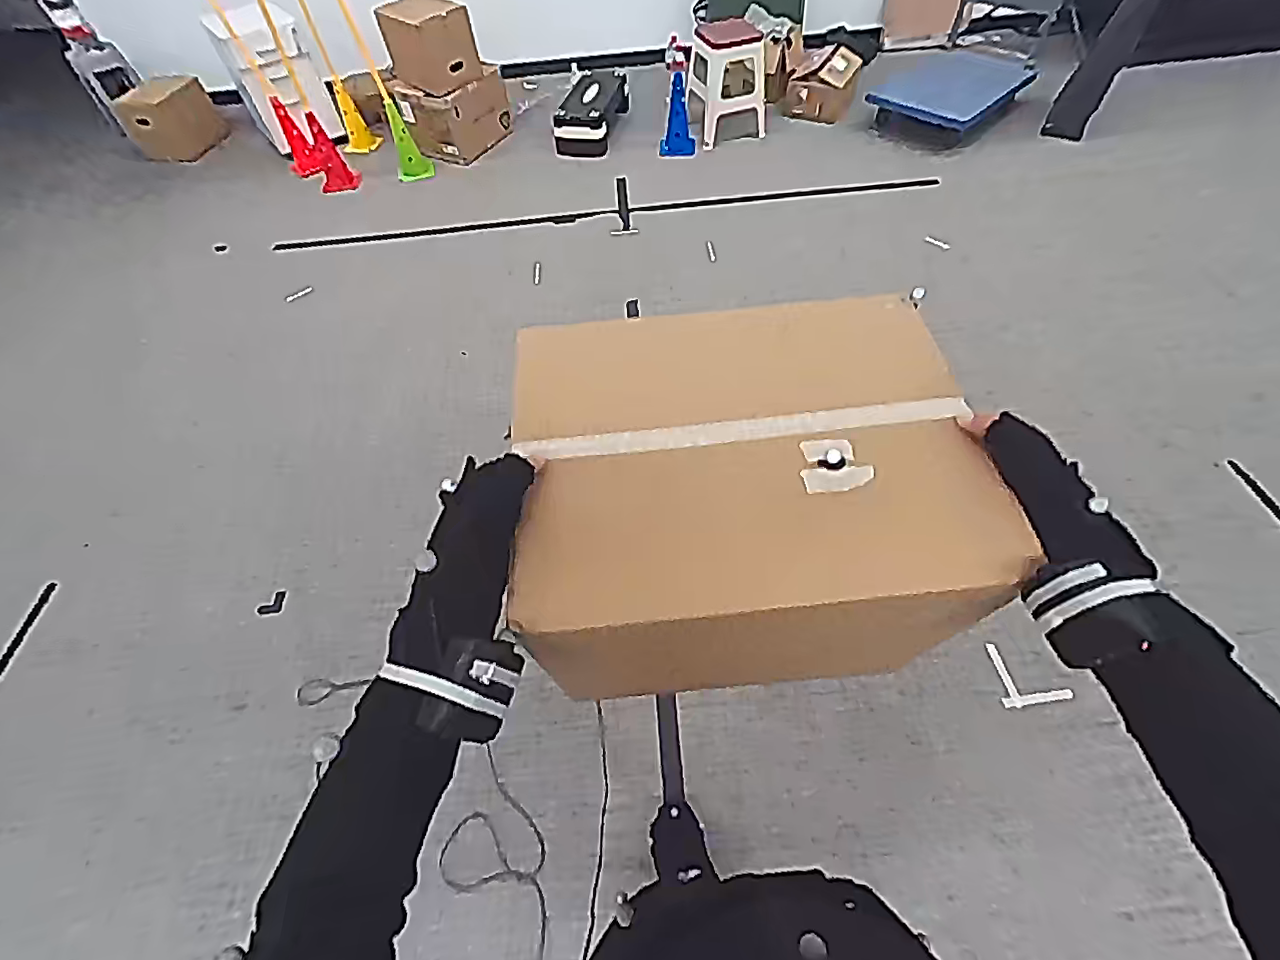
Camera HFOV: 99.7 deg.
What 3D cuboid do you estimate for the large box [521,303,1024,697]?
[{"bbox_3d":[0.094,0.039,0.620,0.408,0.320,0.320,-6,59,-1],"label":"large box"}]
